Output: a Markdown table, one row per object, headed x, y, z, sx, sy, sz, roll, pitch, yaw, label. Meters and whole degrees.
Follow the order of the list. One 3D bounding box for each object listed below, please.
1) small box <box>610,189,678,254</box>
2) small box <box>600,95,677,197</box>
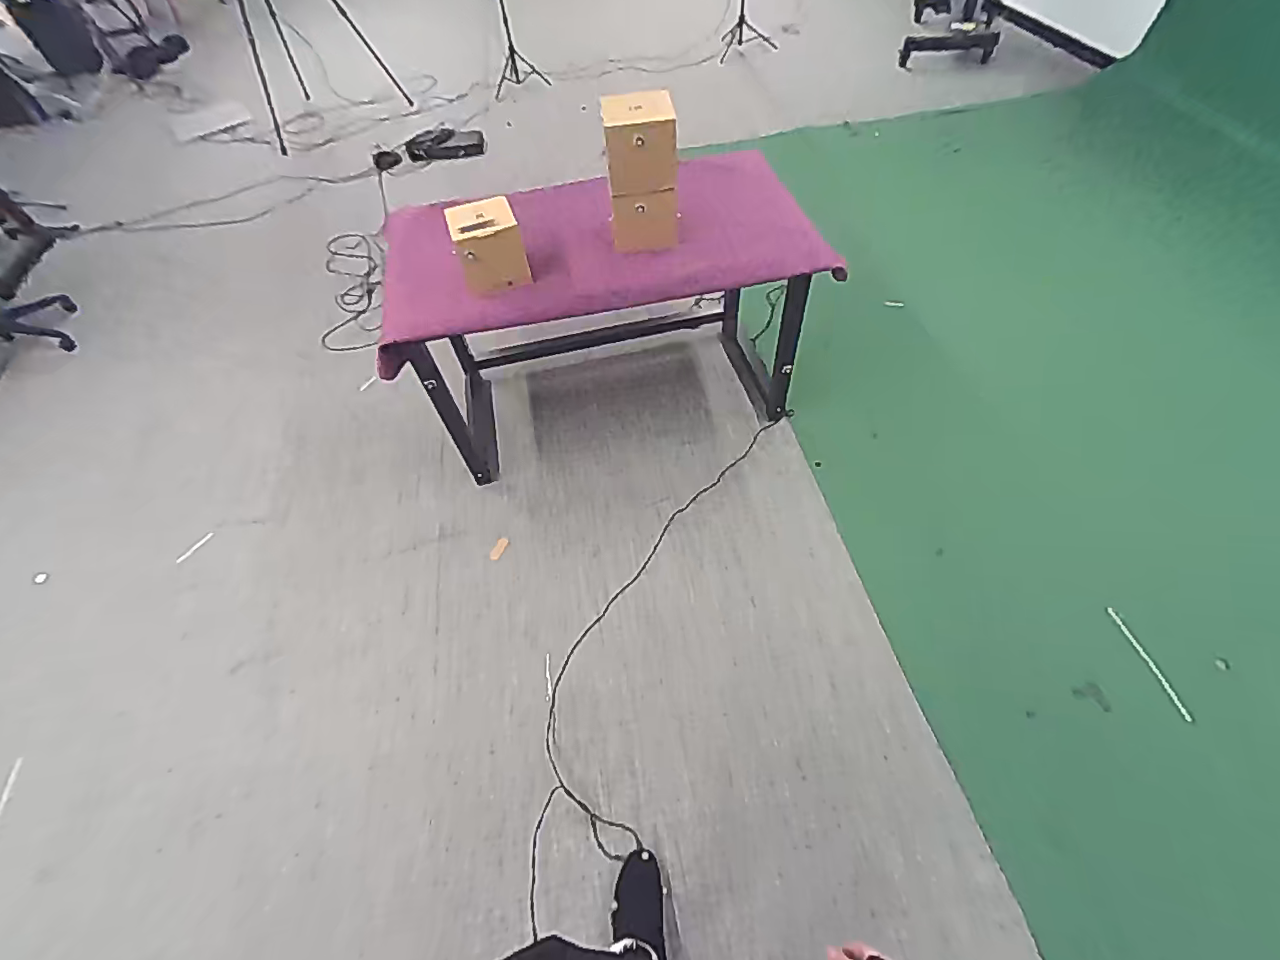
| x | y | z | sx | sy | sz | roll | pitch | yaw | label |
| --- | --- | --- | --- | --- | --- | --- | --- | --- | --- |
| 0.010 | -0.750 | 1.506 | 0.179 | 0.176 | 0.168 | -5 | 55 | 0 | small box |
| -0.001 | -0.841 | 1.371 | 0.179 | 0.176 | 0.168 | -6 | 56 | 0 | small box |
